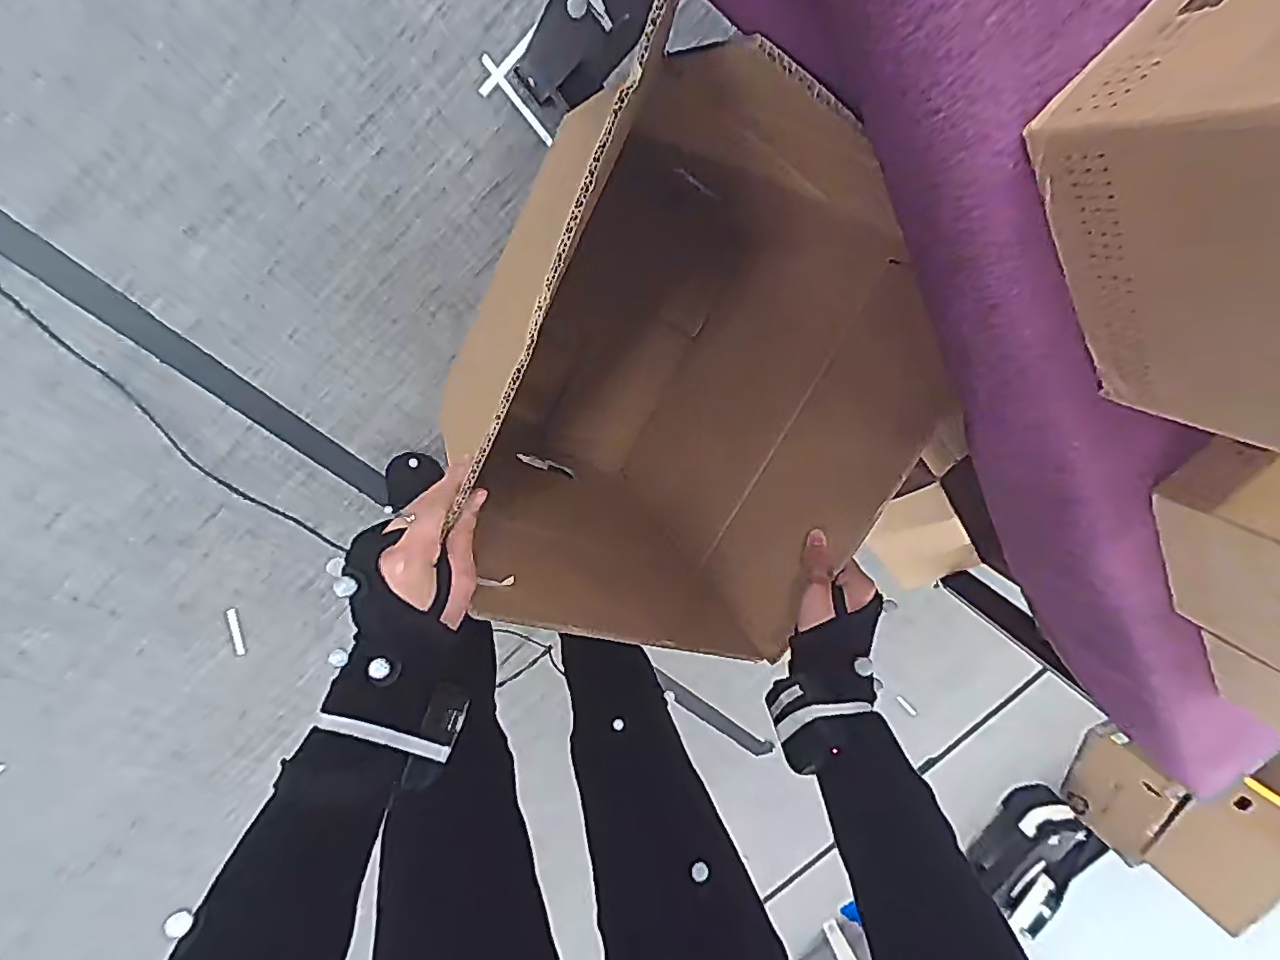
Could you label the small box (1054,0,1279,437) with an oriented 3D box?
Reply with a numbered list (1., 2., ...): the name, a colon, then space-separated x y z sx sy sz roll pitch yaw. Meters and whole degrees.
1. small box: 0.297 -0.115 0.193 0.168 0.176 0.179 -43 122 6
